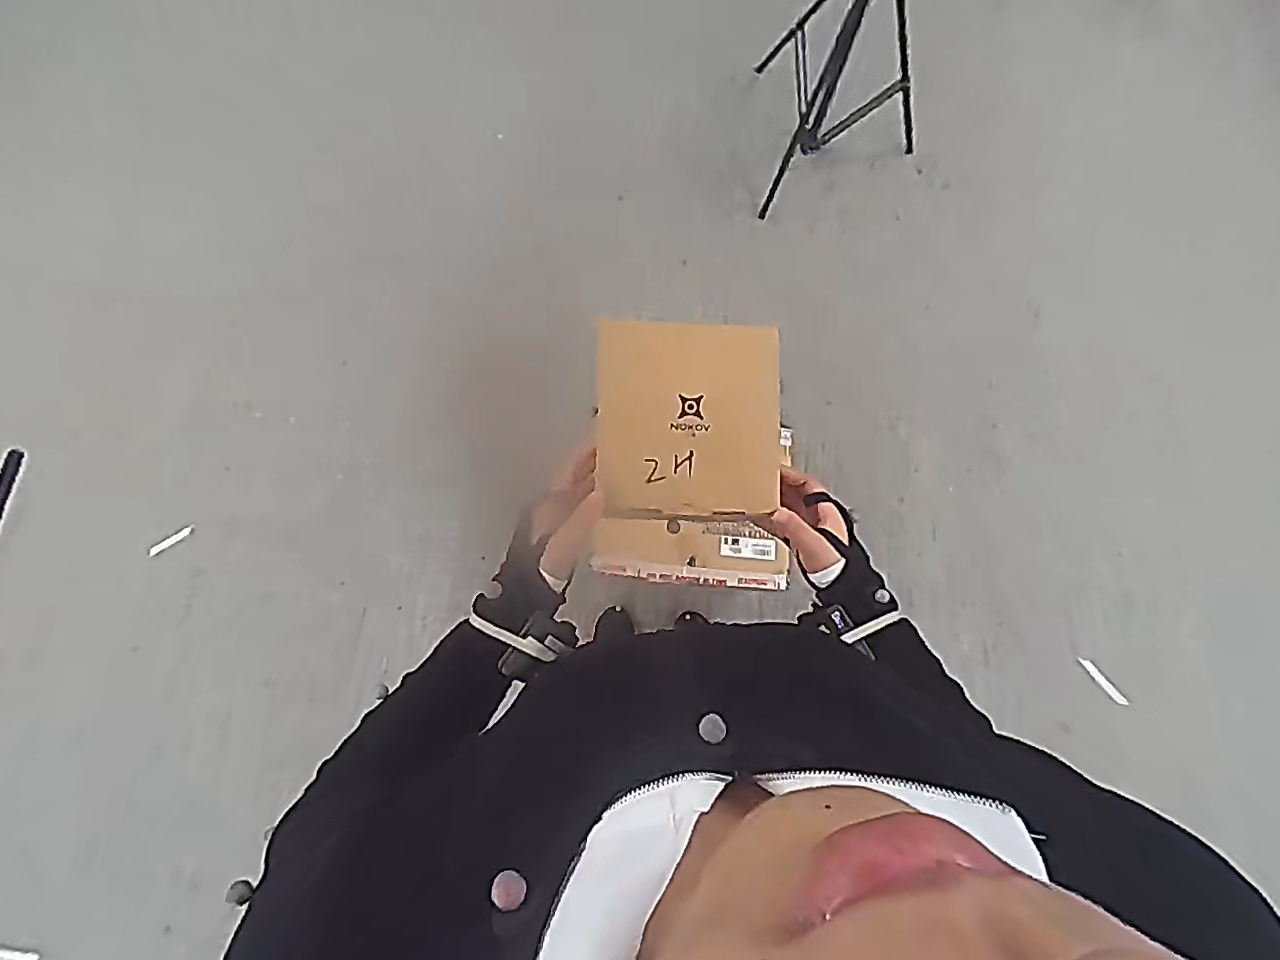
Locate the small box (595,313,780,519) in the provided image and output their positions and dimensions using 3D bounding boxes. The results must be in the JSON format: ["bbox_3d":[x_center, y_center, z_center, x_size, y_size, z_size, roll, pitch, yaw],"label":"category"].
[{"bbox_3d":[0.040,-0.053,0.562,0.168,0.176,0.179,2,83,-2],"label":"small box"}]
